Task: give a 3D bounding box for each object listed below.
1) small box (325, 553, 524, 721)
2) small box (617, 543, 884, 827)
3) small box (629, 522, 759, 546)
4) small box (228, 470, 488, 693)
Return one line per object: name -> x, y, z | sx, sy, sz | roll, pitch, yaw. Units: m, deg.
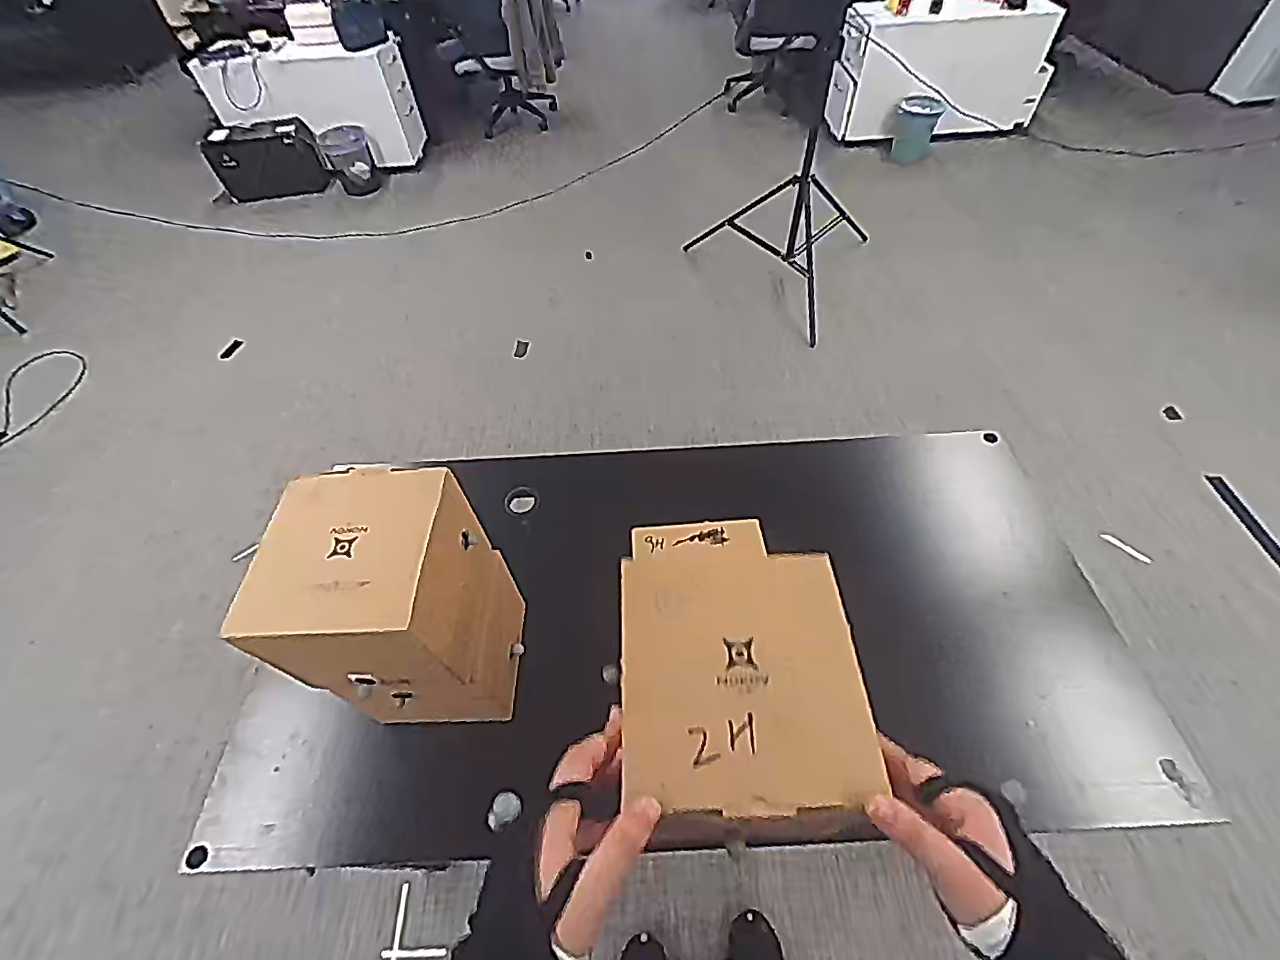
small box -> -0.261, 0.208, 0.702 | 0.179, 0.176, 0.168 | -1, 53, 1
small box -> 0.066, 0.169, 0.440 | 0.168, 0.176, 0.179 | -1, 52, 0
small box -> 0.076, 0.177, 0.710 | 0.168, 0.176, 0.179 | -4, 53, 0
small box -> -0.270, 0.110, 0.572 | 0.168, 0.176, 0.179 | -4, 53, 2
